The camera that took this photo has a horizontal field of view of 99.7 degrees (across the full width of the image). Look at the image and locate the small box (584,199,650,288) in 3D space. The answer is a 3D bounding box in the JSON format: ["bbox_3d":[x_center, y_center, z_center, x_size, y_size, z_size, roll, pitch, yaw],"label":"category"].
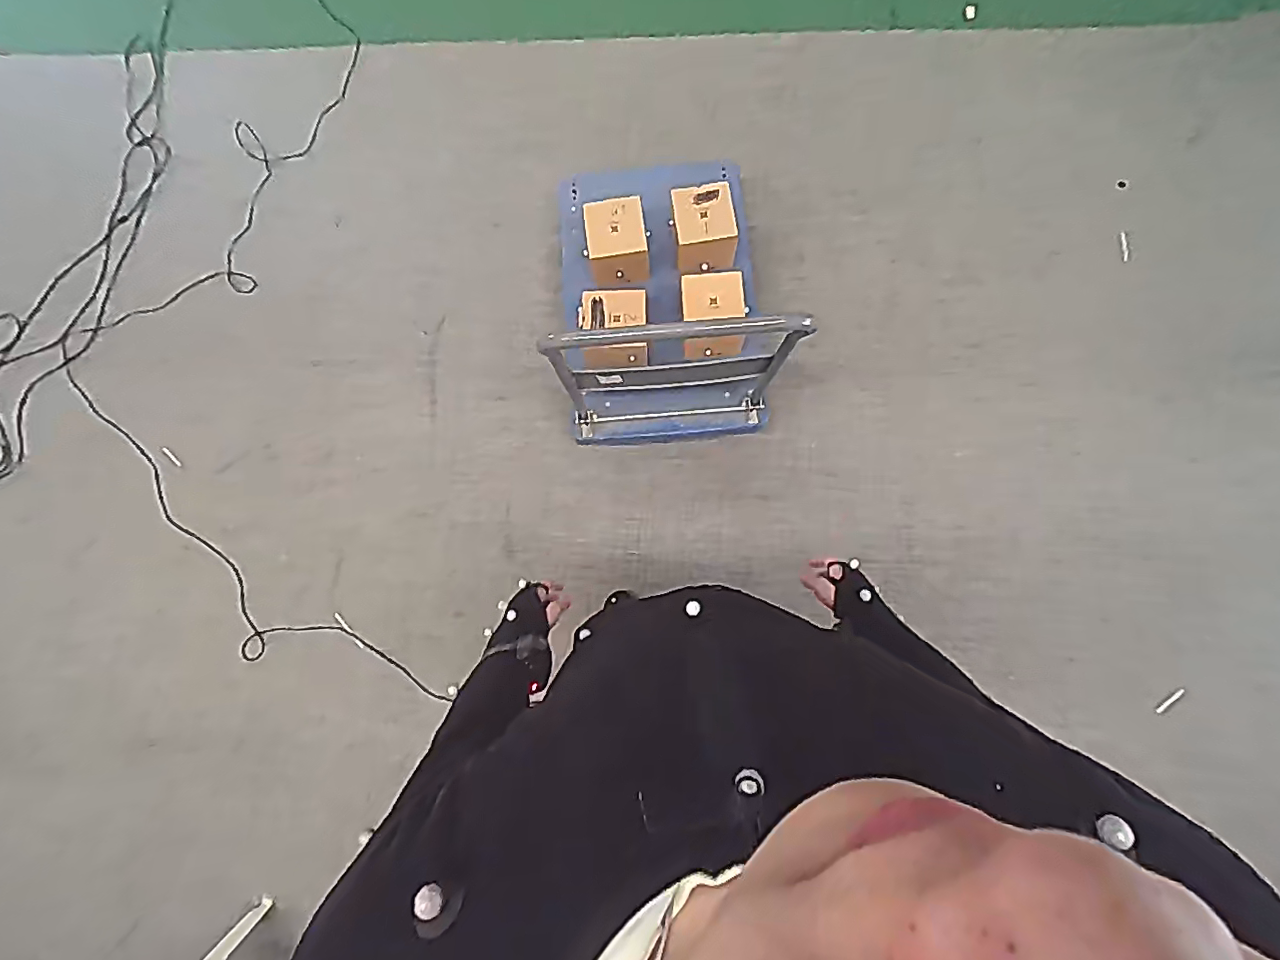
[{"bbox_3d":[-0.063,-0.681,1.582,0.168,0.176,0.179,-8,79,1],"label":"small box"}]

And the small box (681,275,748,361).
[{"bbox_3d":[0.205,-0.453,1.527,0.168,0.176,0.179,-3,80,2],"label":"small box"}]

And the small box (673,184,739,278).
[{"bbox_3d":[0.186,-0.719,1.575,0.168,0.176,0.179,-8,80,3],"label":"small box"}]
